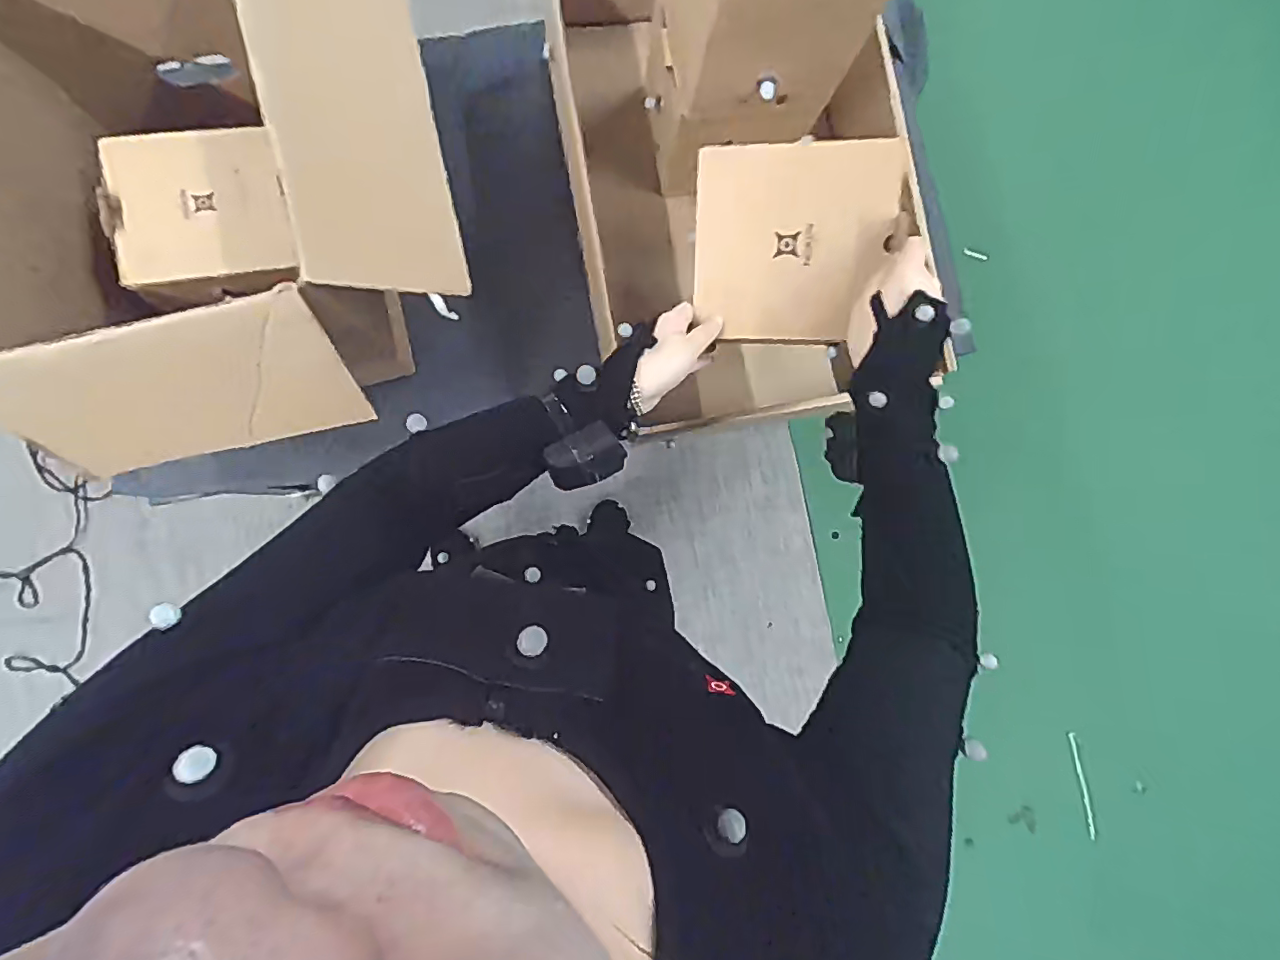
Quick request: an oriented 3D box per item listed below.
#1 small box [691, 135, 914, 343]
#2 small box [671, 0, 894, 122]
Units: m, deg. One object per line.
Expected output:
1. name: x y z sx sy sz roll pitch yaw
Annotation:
1. small box: 0.151 -0.227 0.550 0.179 0.176 0.168 4 105 10
2. small box: 0.128 -0.498 0.532 0.168 0.176 0.179 -9 90 -5
